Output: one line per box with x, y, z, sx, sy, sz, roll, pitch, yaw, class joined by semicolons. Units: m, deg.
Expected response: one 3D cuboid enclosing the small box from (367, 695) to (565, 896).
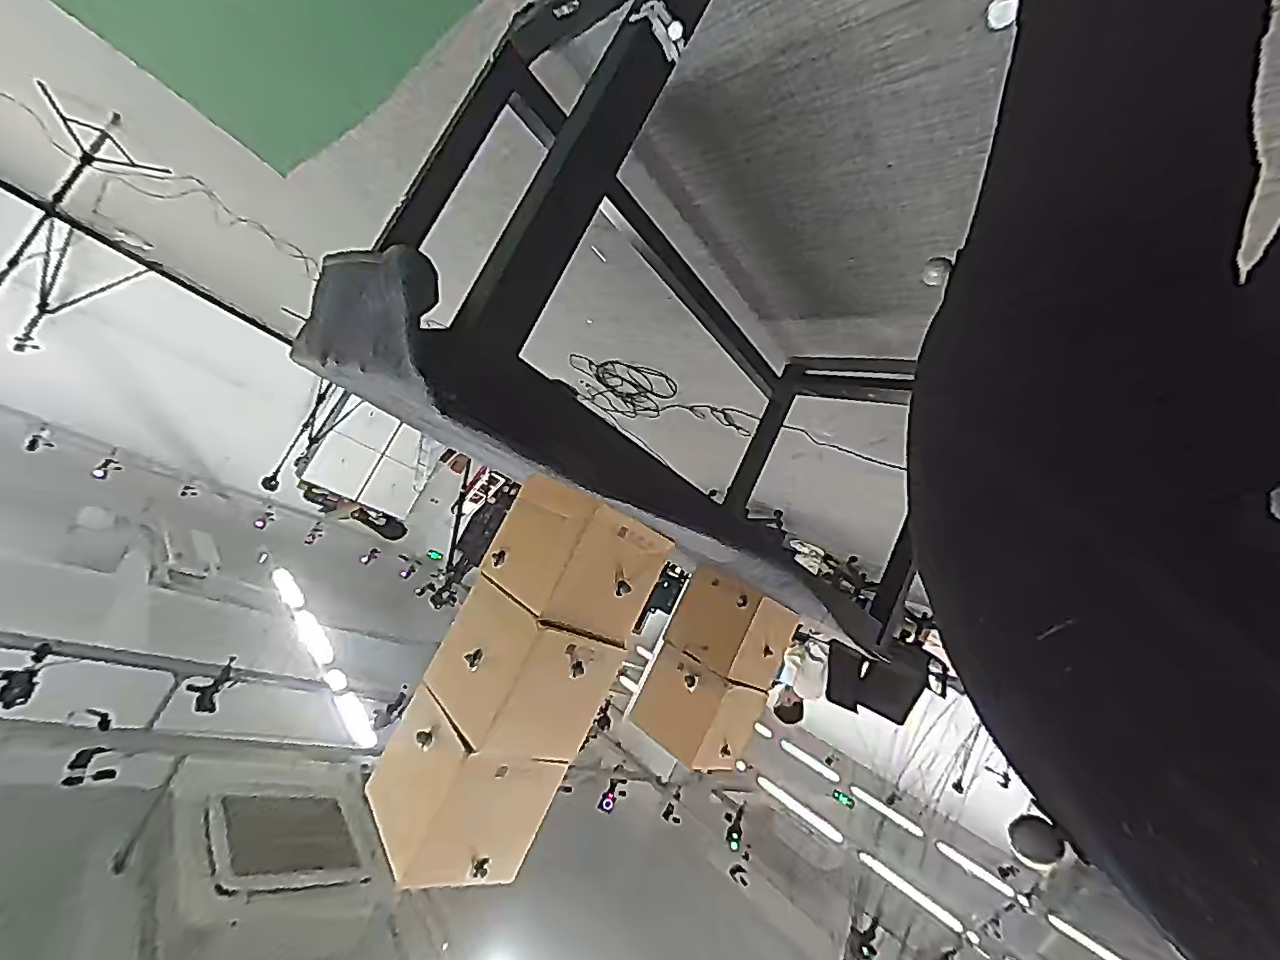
-0.230;0.406;0.727;0.168;0.176;0.179;32;171;-40;small box

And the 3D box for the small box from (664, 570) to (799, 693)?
0.185;0.295;1.072;0.168;0.176;0.179;19;170;45;small box

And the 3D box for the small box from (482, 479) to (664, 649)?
-0.086;0.114;0.769;0.179;0.176;0.168;19;169;46;small box

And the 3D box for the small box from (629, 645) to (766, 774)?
0.118;0.441;1.050;0.168;0.176;0.179;17;167;44;small box
